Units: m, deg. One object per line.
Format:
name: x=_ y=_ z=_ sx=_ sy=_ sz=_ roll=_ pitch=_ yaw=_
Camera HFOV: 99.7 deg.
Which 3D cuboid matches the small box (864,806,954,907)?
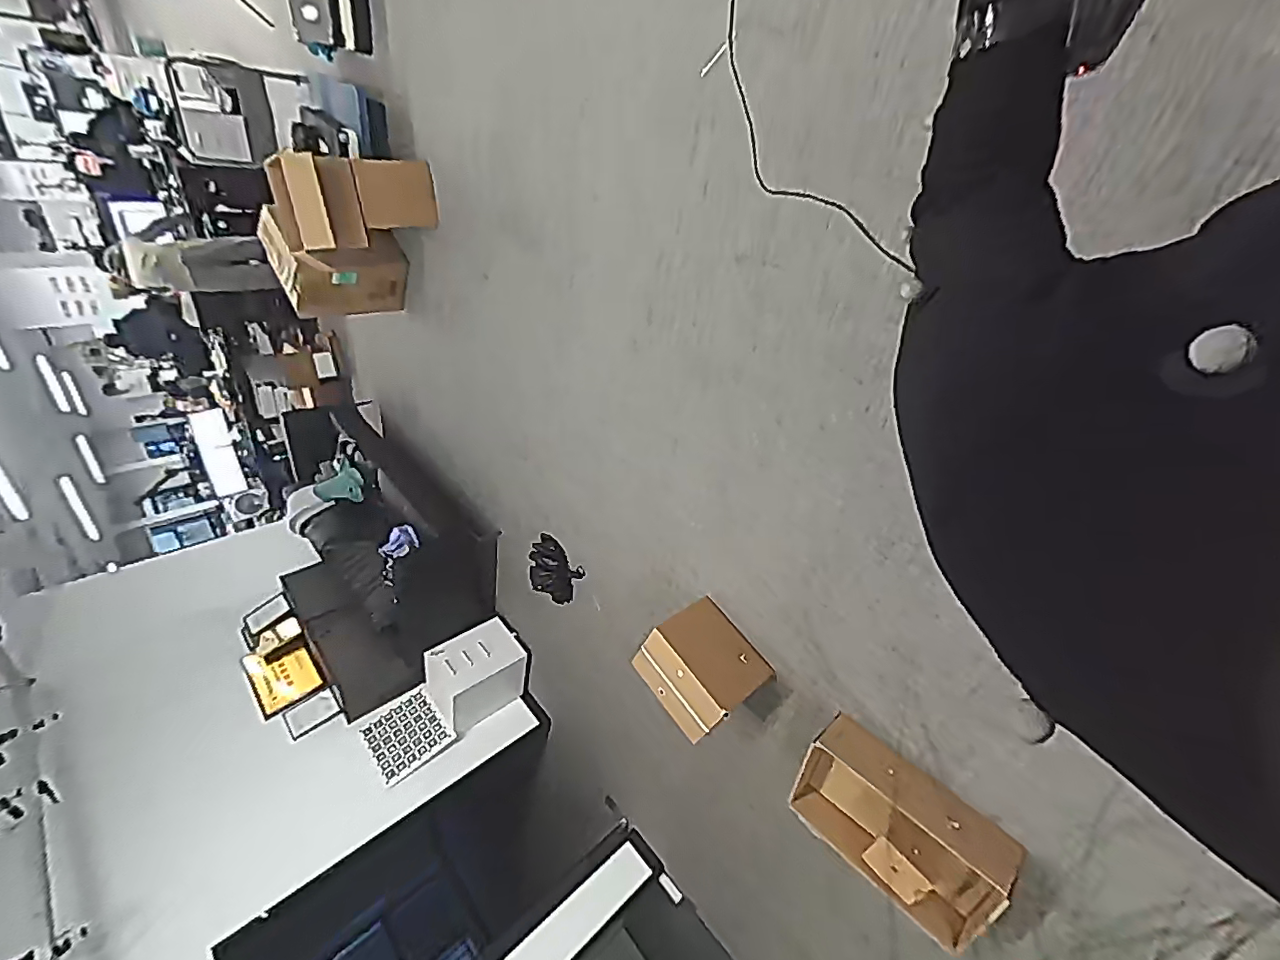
small box: x=0.865 y=1.202 z=1.733 sx=0.179 sy=0.176 sz=0.168 roll=40 pitch=132 yaw=34
